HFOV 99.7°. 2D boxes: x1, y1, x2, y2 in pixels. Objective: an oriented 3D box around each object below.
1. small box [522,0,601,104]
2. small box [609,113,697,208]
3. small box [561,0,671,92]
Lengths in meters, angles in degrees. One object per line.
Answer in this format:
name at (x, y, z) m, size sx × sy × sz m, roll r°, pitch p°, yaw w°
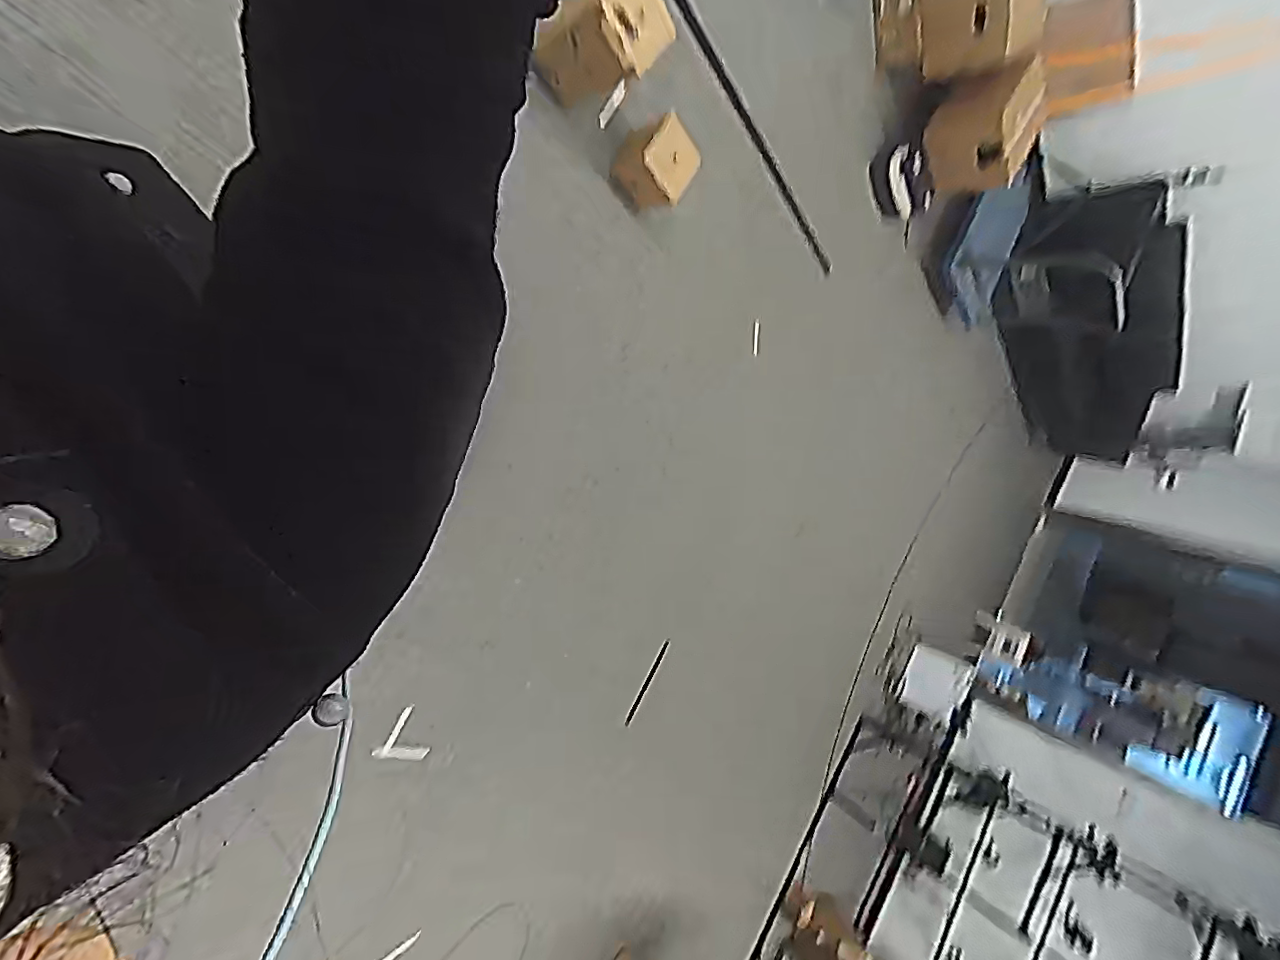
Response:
small box at (-0.171, -1.126, 1.416) m, size 0.179 × 0.176 × 0.168 m, roll 38°, pitch 77°, yaw -42°
small box at (0.035, -0.965, 1.646) m, size 0.168 × 0.176 × 0.179 m, roll 38°, pitch 78°, yaw -41°
small box at (-0.065, -1.081, 1.297) m, size 0.168 × 0.176 × 0.179 m, roll 44°, pitch 73°, yaw -41°
